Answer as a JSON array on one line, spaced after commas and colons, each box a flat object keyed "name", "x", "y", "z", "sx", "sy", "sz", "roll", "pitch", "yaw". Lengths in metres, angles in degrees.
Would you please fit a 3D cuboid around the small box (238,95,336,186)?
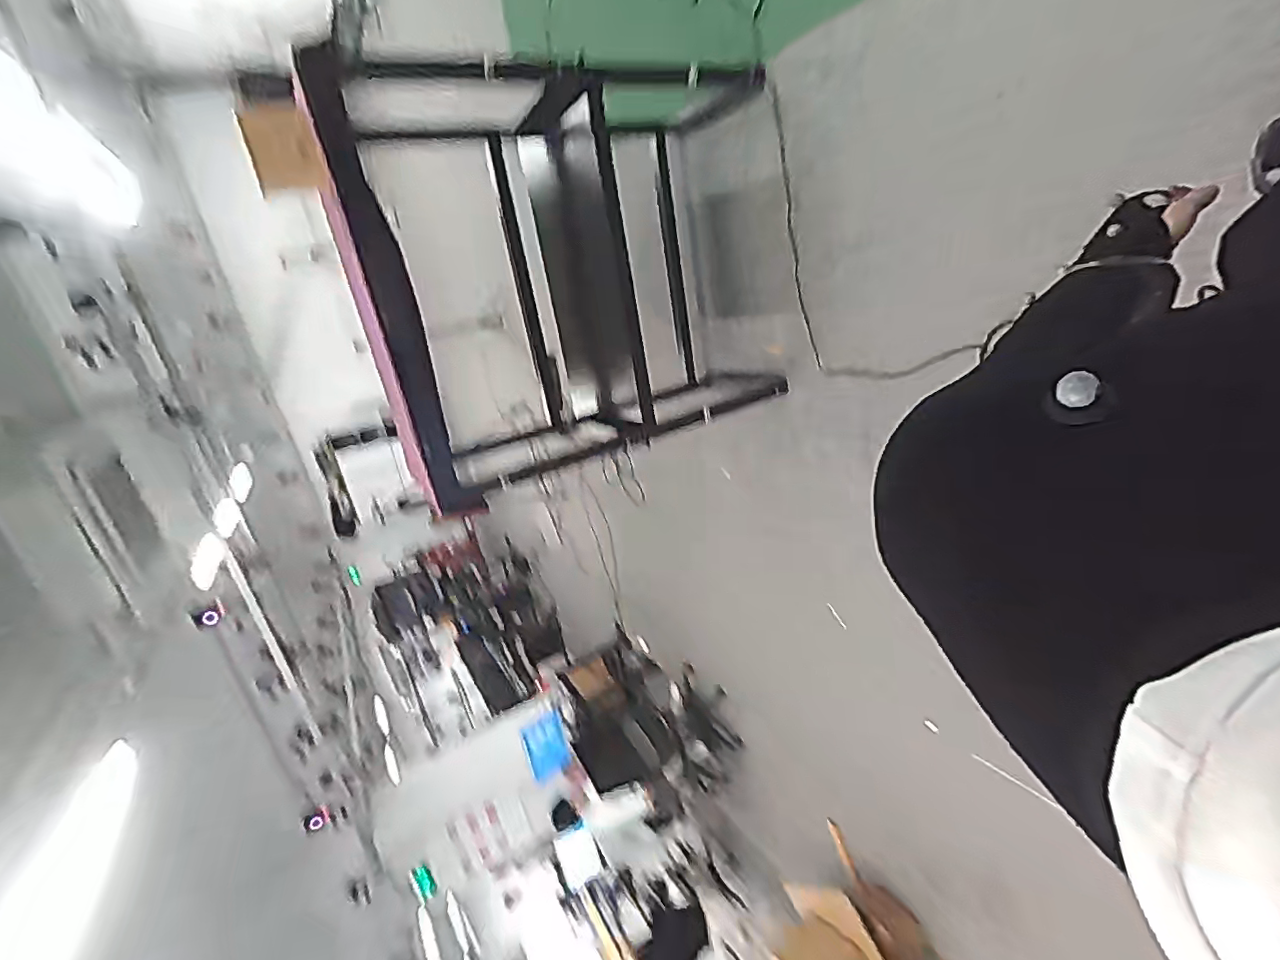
[{"name": "small box", "x": -0.901, "y": -0.868, "z": 1.394, "sx": 0.179, "sy": 0.176, "sz": 0.168, "roll": 24, "pitch": 129, "yaw": 55}]
